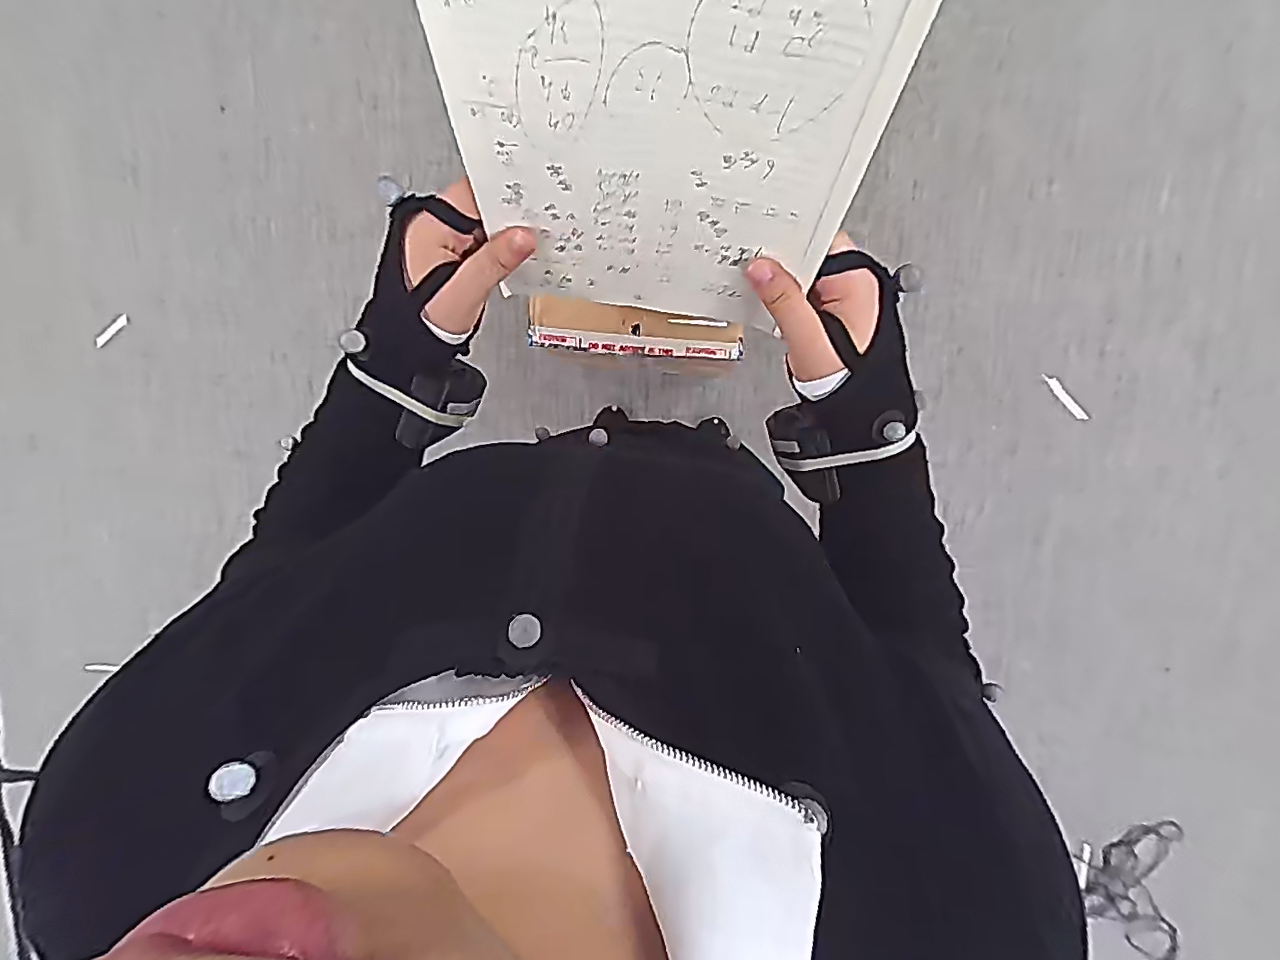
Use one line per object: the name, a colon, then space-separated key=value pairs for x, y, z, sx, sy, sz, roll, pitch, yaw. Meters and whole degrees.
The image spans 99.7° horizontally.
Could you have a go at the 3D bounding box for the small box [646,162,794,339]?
small box: x=0.095 y=-0.292 z=0.722 sx=0.168 sy=0.176 sz=0.179 roll=4 pitch=99 yaw=1

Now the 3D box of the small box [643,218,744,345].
small box: x=0.095 y=-0.315 z=0.885 sx=0.179 sy=0.176 sz=0.168 roll=0 pitch=98 yaw=2
